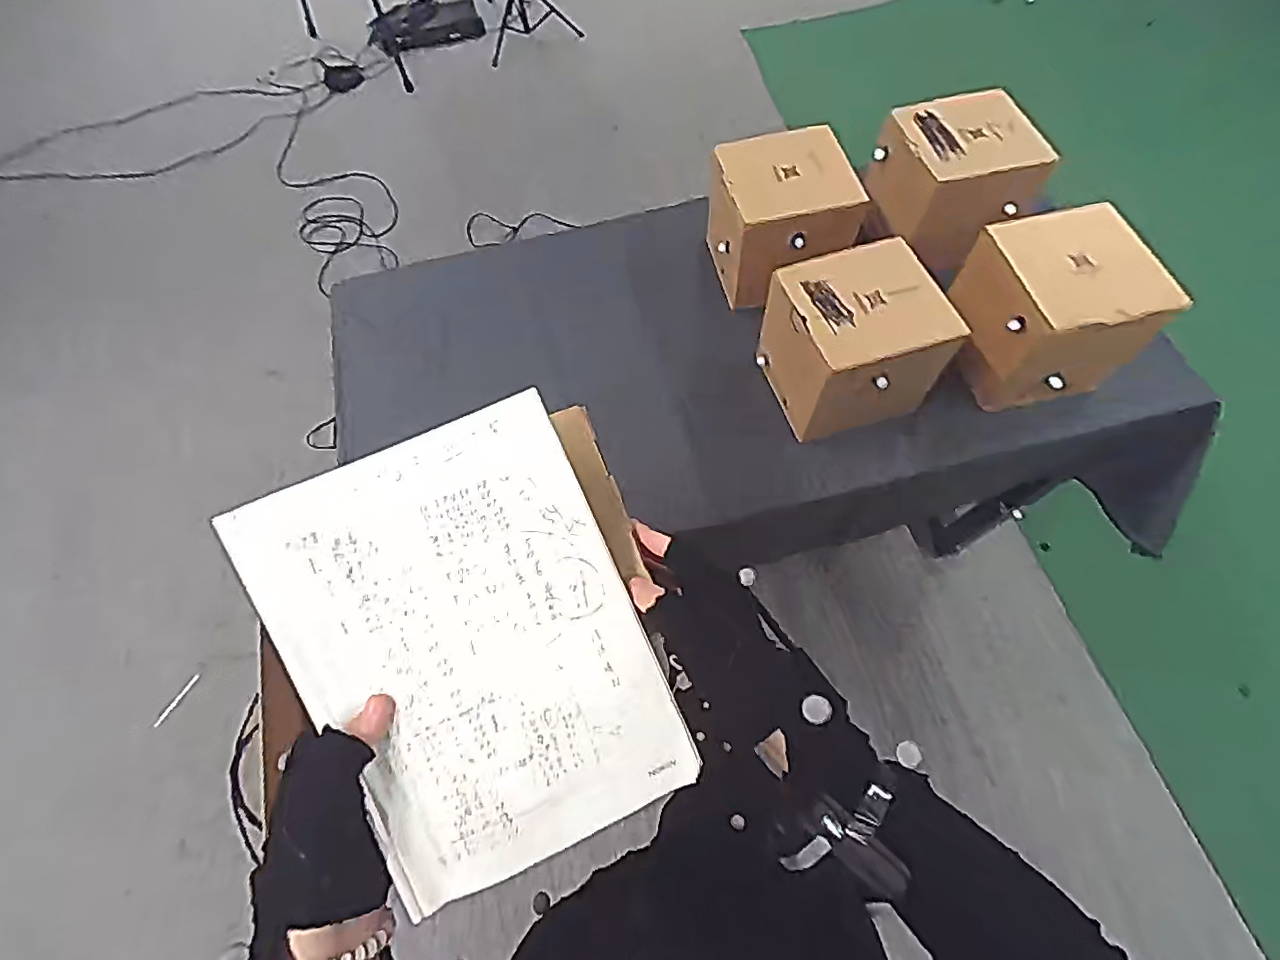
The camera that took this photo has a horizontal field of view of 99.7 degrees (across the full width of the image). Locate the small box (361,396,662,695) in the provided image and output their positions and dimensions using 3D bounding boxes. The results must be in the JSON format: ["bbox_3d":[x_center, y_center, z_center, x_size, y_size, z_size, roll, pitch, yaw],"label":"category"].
[{"bbox_3d":[-0.090,0.062,0.442,0.179,0.176,0.168,-19,73,-6],"label":"small box"}]

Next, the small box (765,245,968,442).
[{"bbox_3d":[0.276,-0.171,0.716,0.179,0.176,0.168,-16,64,-5],"label":"small box"}]

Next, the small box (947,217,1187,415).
[{"bbox_3d":[0.535,-0.212,0.723,0.168,0.176,0.179,-11,64,-2],"label":"small box"}]
